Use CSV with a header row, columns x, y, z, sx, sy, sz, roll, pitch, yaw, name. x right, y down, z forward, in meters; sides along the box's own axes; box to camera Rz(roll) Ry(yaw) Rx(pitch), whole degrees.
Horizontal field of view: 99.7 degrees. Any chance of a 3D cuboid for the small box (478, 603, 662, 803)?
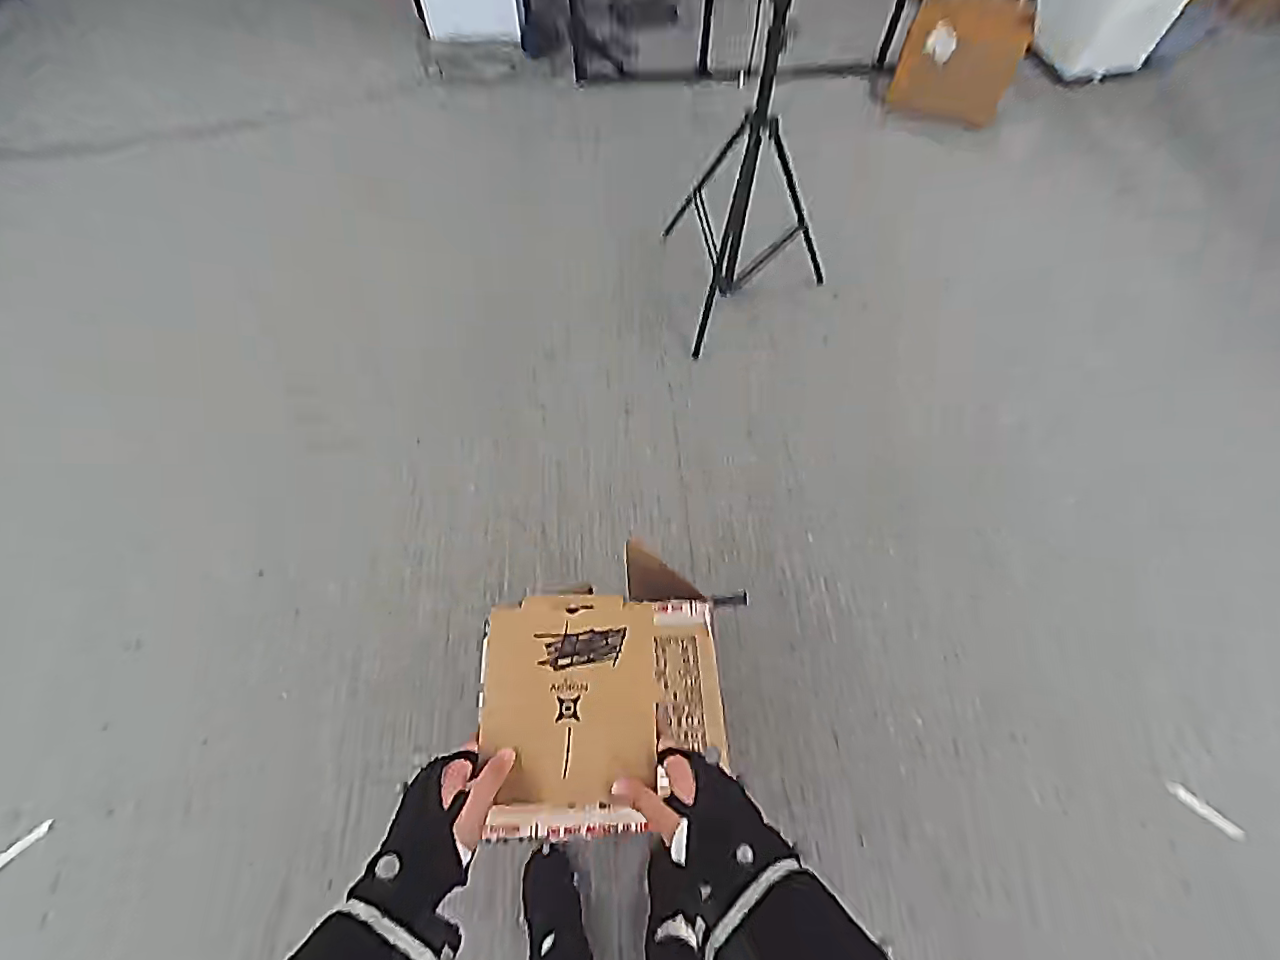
x,y,z,sx,sy,sz,roll,pitch,yaw,name
-0.065,0.236,0.583,0.168,0.176,0.179,0,67,-1,small box
